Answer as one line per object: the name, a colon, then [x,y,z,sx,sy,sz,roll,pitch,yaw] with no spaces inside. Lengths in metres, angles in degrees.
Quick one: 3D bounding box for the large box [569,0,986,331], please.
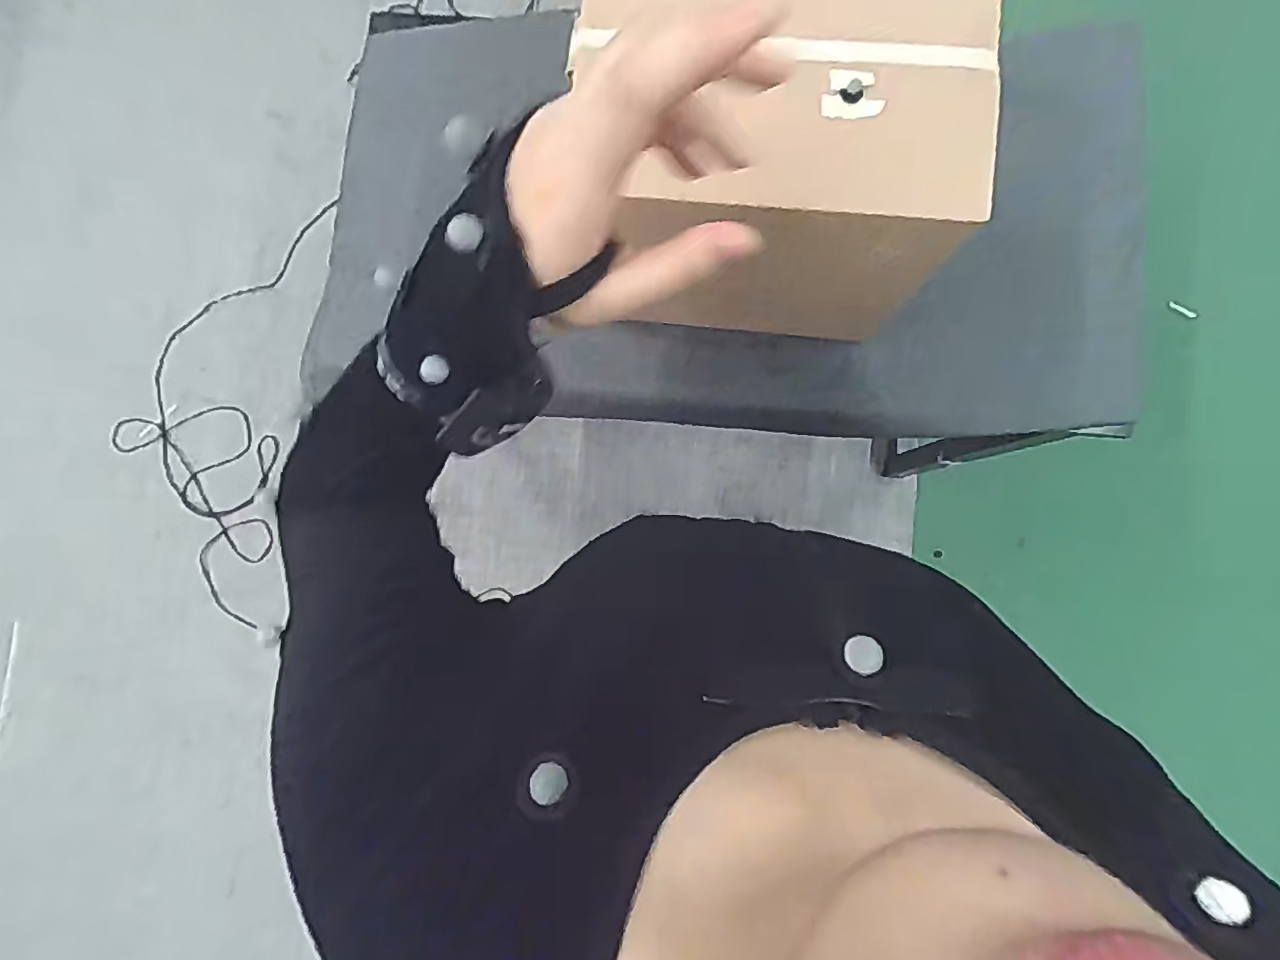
large box: [0.142,-0.402,0.686,0.408,0.320,0.320,5,85,3]
